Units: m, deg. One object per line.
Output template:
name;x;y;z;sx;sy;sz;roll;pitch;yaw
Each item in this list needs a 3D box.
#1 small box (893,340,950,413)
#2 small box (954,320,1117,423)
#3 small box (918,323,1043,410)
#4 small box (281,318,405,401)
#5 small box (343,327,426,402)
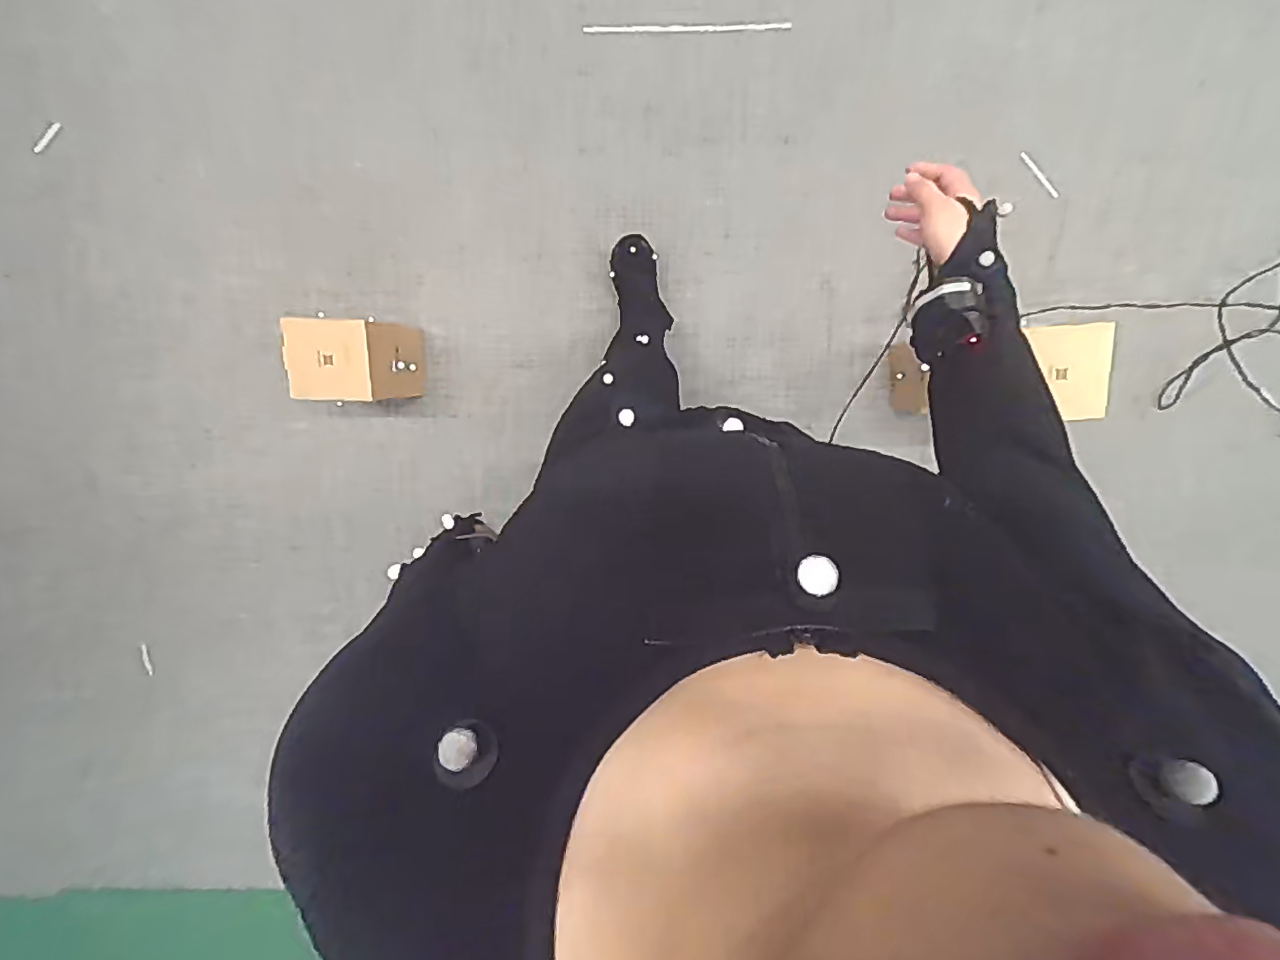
small box;0.735;-0.261;1.320;0.179;0.176;0.168;-7;103;2
small box;0.718;-0.202;1.000;0.179;0.176;0.168;-5;102;3
small box;0.726;-0.243;1.157;0.179;0.176;0.168;-4;102;3
small box;-0.642;-0.263;1.187;0.179;0.176;0.168;1;104;0
small box;-0.648;-0.292;1.348;0.168;0.176;0.179;1;103;1
